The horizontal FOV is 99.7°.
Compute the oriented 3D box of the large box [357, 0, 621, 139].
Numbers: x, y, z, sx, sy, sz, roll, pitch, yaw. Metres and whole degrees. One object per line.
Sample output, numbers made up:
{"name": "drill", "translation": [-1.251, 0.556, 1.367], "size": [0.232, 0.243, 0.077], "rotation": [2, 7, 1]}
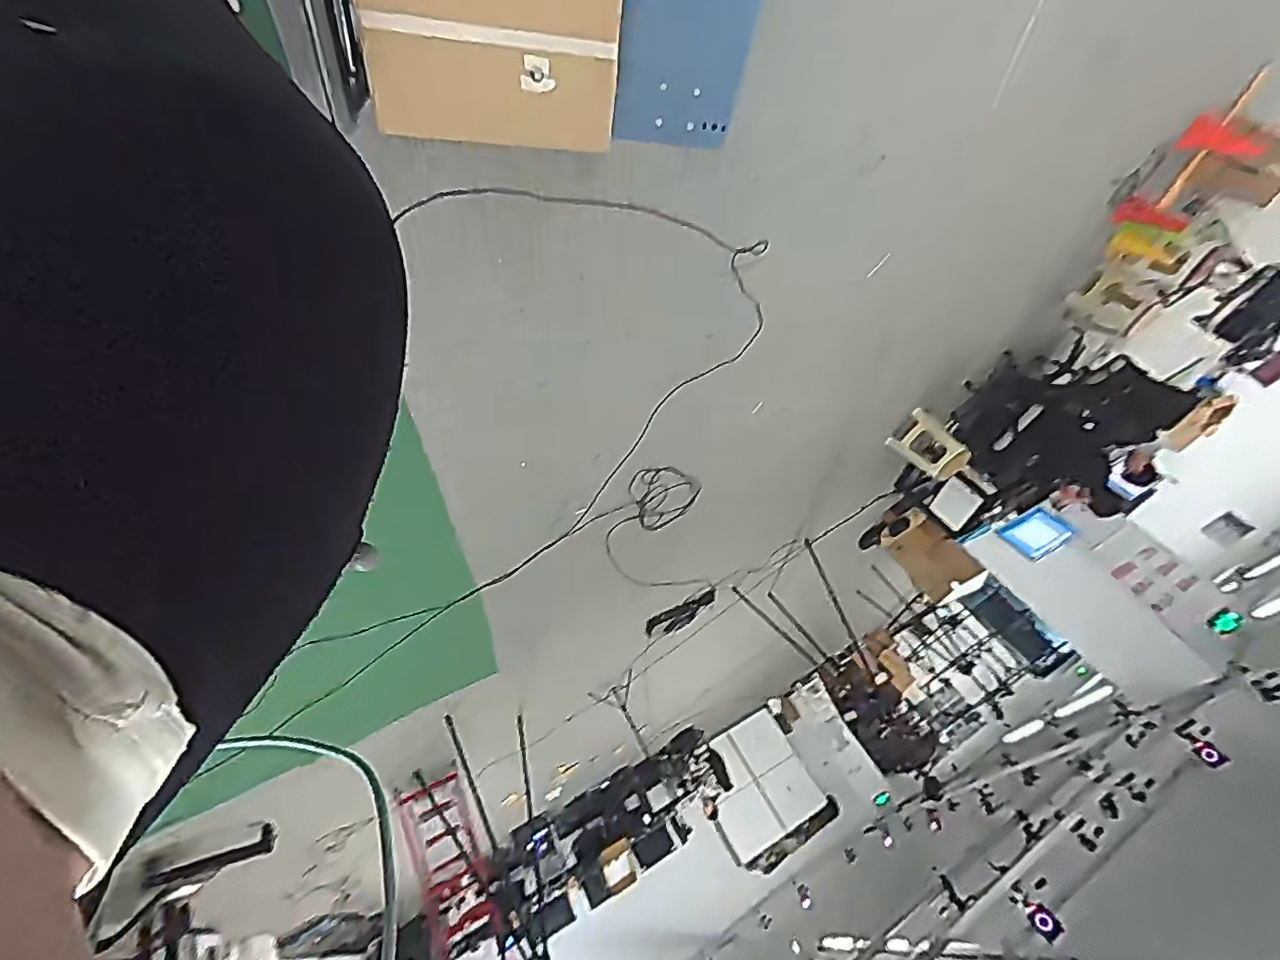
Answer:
{"name": "large box", "translation": [-0.265, -0.829, 0.941], "size": [0.408, 0.320, 0.320], "rotation": [-5, 139, -16]}
